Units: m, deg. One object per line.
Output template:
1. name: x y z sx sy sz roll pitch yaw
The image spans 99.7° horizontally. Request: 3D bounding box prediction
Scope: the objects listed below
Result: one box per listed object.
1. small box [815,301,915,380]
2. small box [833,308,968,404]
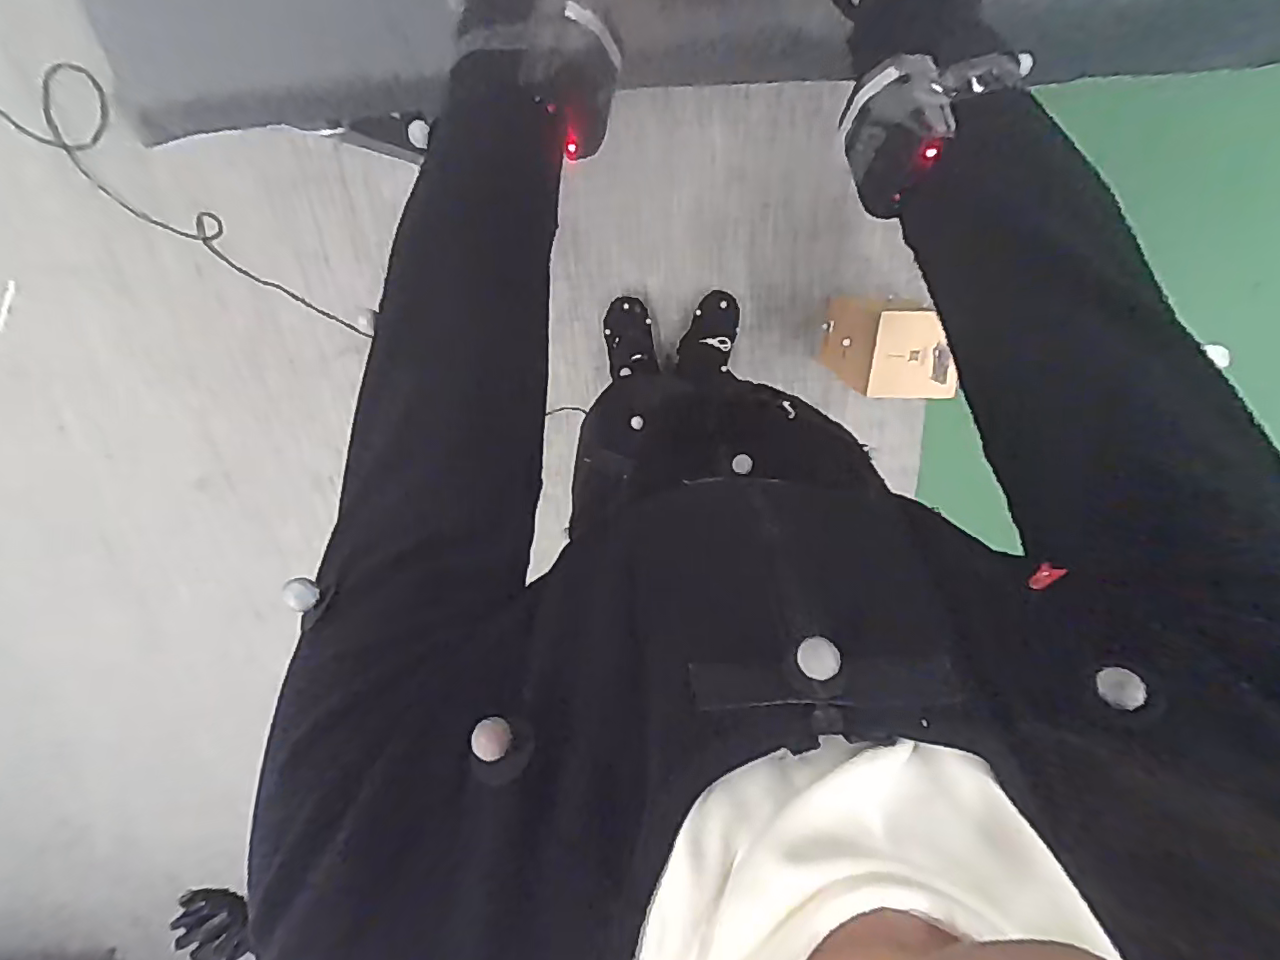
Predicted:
1. small box: 0.531 -0.324 1.261 0.179 0.176 0.168 3 113 0
2. small box: 0.521 -0.259 1.109 0.179 0.176 0.168 2 113 -1
